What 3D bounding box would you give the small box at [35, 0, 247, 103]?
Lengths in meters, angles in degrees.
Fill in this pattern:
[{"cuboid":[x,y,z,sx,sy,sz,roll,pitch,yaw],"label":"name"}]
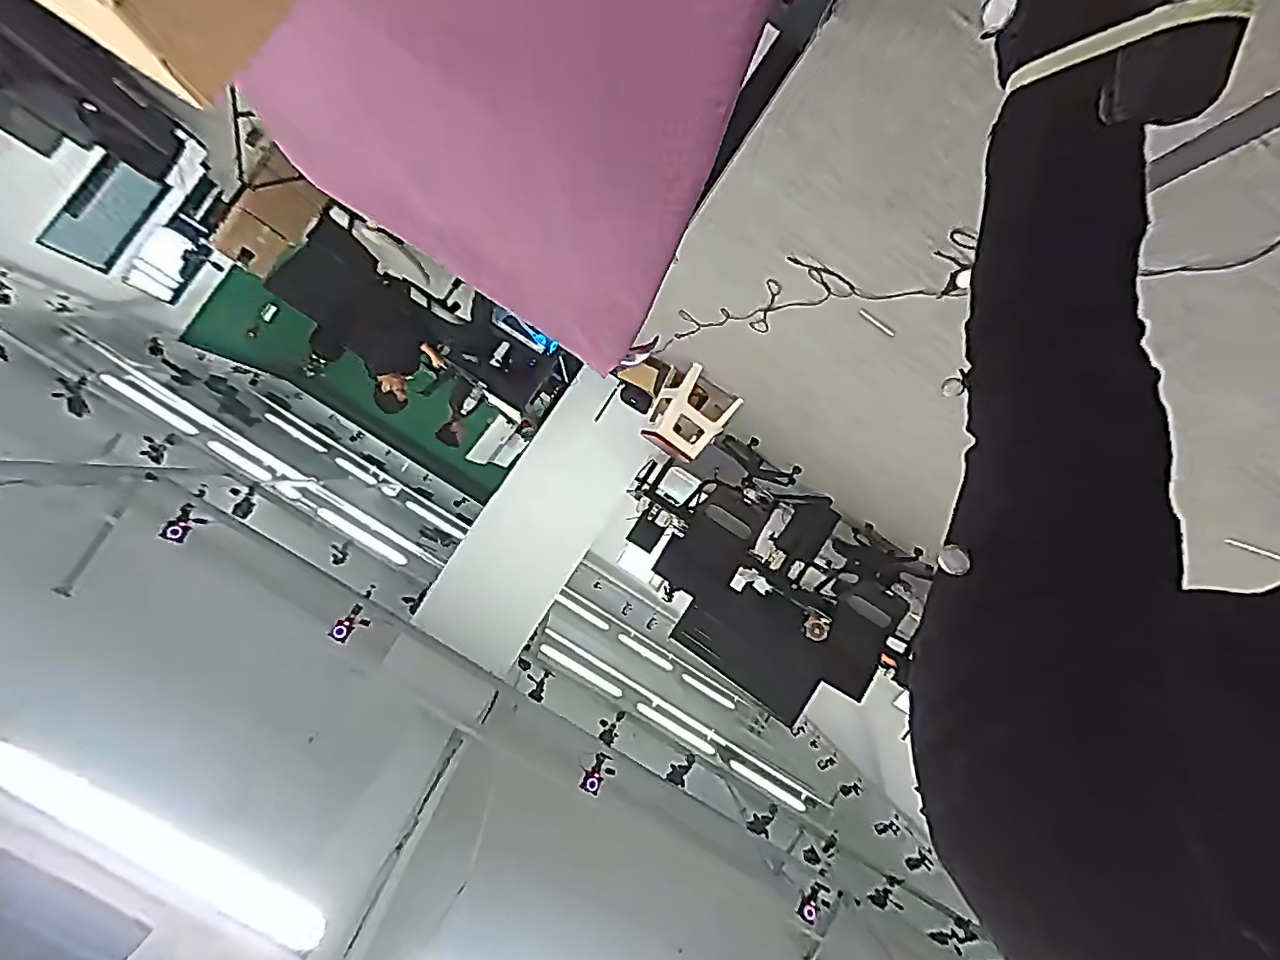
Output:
[{"cuboid":[-0.219,-0.289,0.169,0.179,0.176,0.168,34,177,-8],"label":"small box"}]
